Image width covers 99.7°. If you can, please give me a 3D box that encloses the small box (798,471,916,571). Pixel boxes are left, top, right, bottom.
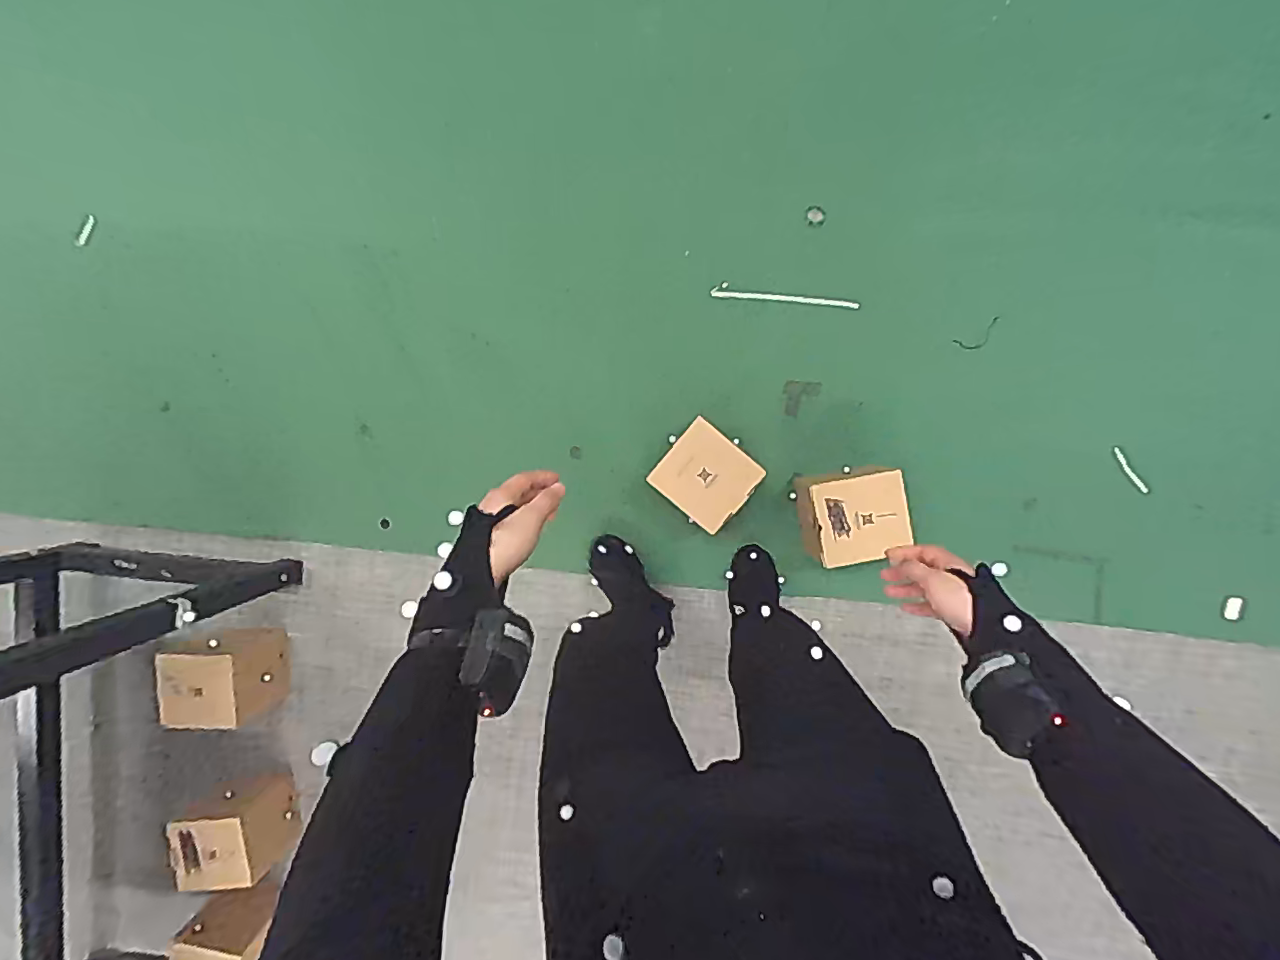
[{"bbox_3d":[0.433,0.078,1.111,0.179,0.176,0.168,-11,94,4],"label":"small box"}]

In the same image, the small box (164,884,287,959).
[{"bbox_3d":[-0.988,1.119,1.296,0.179,0.176,0.168,10,96,3],"label":"small box"}]

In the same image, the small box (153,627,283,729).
[{"bbox_3d":[-0.947,0.443,1.232,0.179,0.176,0.168,1,94,4],"label":"small box"}]

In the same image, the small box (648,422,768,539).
[{"bbox_3d":[0.136,-0.005,1.124,0.179,0.176,0.168,40,95,1],"label":"small box"}]
